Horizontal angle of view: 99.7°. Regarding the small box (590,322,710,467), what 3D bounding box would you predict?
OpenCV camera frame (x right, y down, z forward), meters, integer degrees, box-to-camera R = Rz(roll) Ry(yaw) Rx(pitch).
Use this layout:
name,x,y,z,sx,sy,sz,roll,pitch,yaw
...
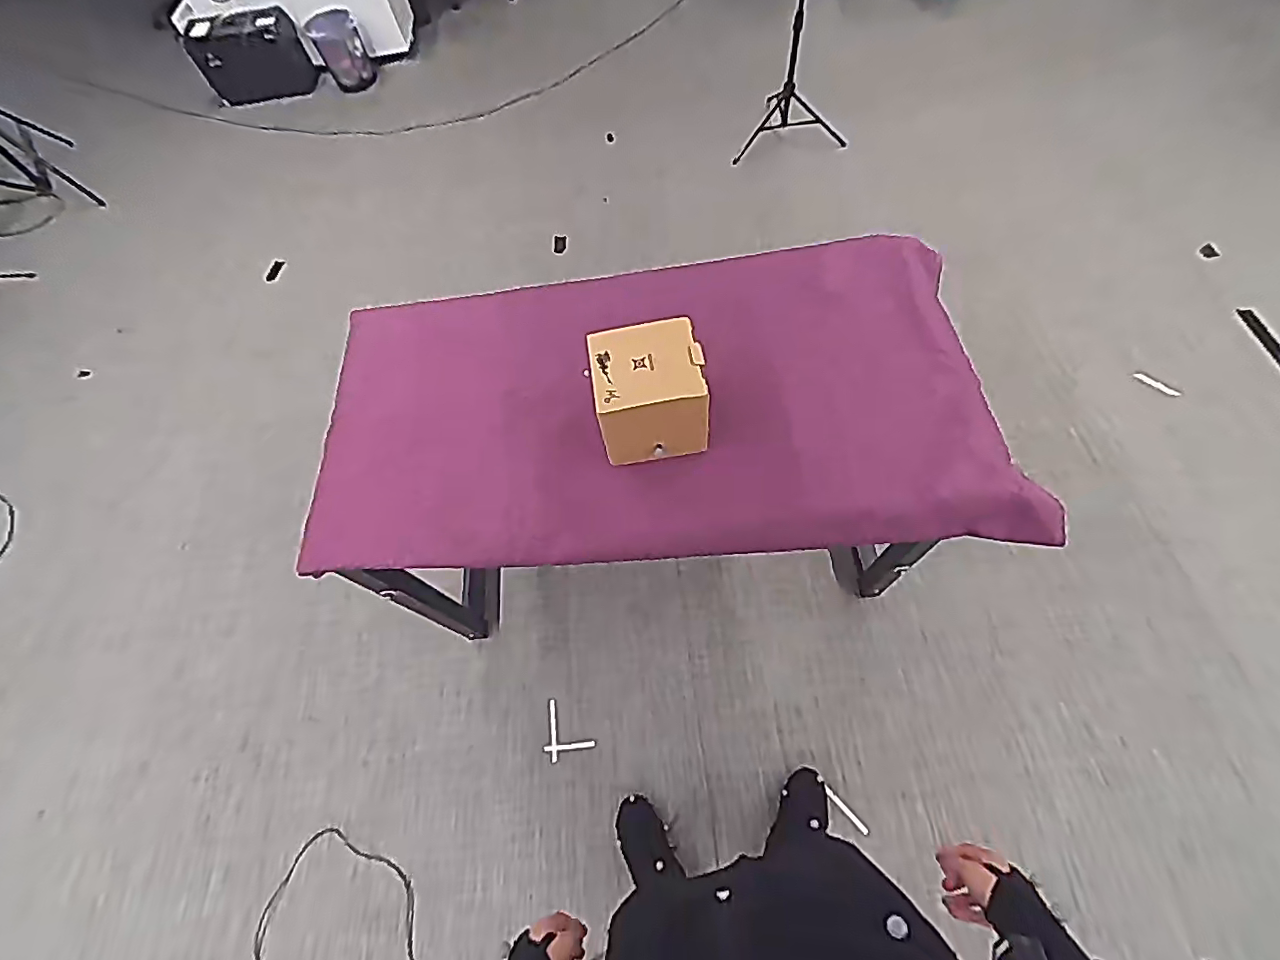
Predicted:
name,x,y,z,sx,sy,sz,roll,pitch,yaw
small box,0.017,-0.141,0.926,0.179,0.176,0.168,-9,61,0
